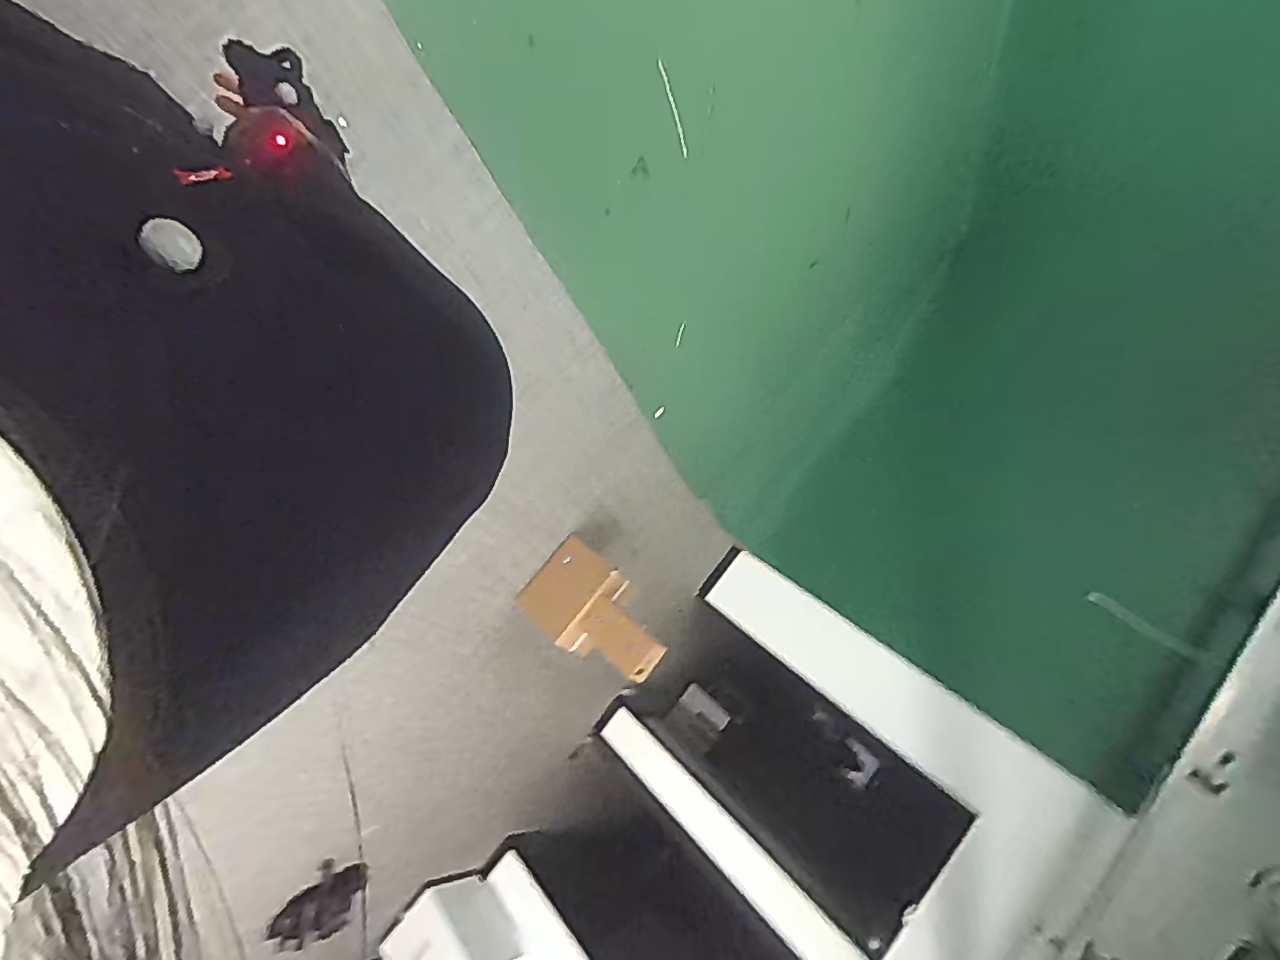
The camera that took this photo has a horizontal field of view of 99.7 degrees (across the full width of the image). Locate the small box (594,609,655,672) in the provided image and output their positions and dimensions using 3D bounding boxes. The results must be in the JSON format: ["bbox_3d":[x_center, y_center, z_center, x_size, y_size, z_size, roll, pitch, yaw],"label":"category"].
[{"bbox_3d":[-0.073,0.682,2.295,0.179,0.176,0.168,-51,149,-8],"label":"small box"}]

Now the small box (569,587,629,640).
[{"bbox_3d":[-0.184,0.595,2.381,0.168,0.176,0.179,-52,148,-5],"label":"small box"}]
